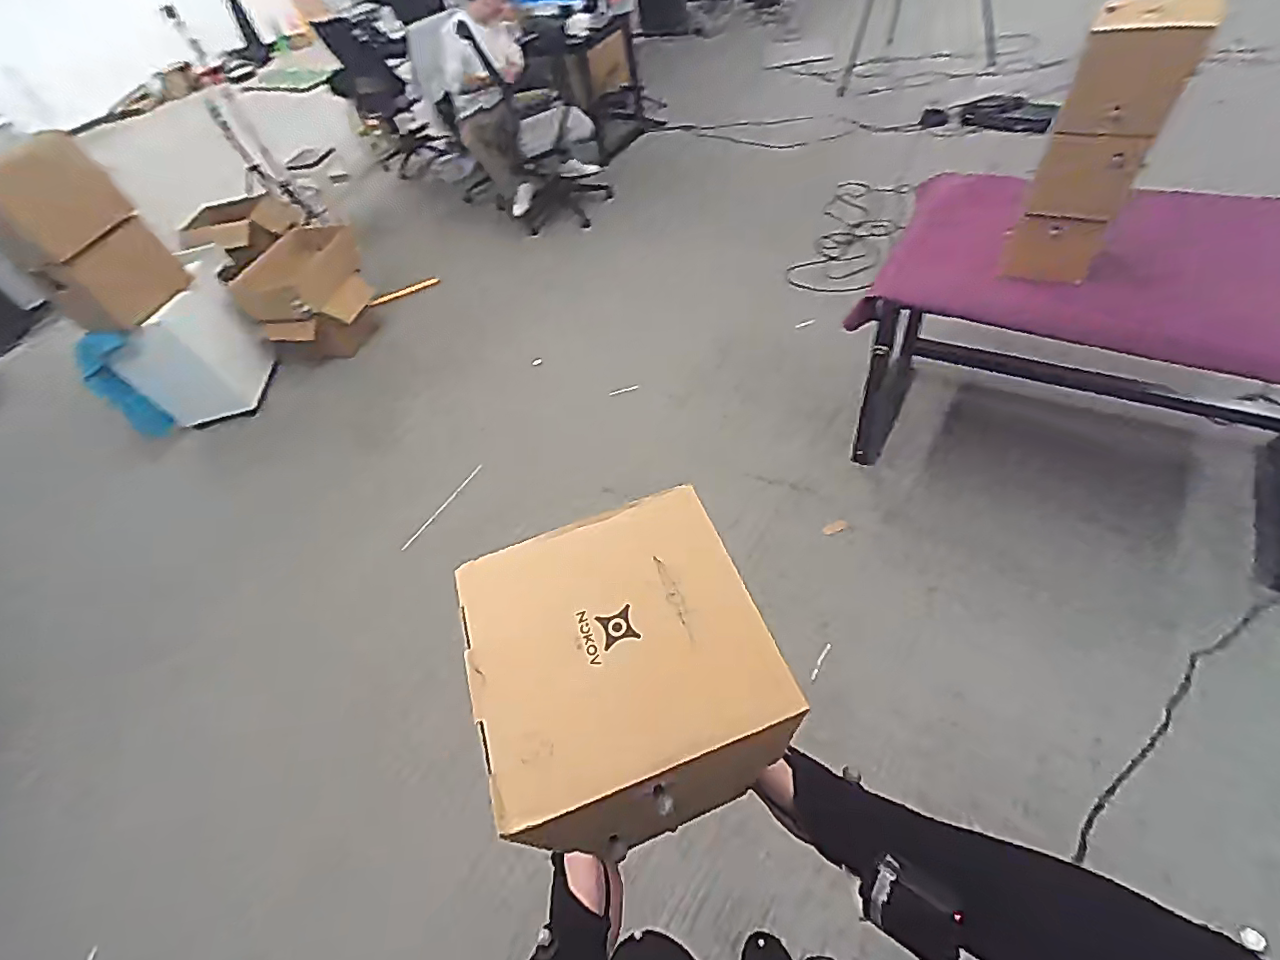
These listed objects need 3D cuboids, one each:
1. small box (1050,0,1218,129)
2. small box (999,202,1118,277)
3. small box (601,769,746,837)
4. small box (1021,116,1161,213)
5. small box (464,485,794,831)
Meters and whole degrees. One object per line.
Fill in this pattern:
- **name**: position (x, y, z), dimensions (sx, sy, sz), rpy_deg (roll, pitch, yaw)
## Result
- **small box**: position (0.914, -0.783, 1.010), dimensions (0.179, 0.176, 0.168), rpy_deg (22, 61, 26)
- **small box**: position (0.986, -0.603, 1.276), dimensions (0.179, 0.176, 0.168), rpy_deg (20, 61, 27)
- **small box**: position (0.024, 0.318, 0.671), dimensions (0.179, 0.176, 0.168), rpy_deg (-20, 53, -7)
- **small box**: position (0.948, -0.689, 1.139), dimensions (0.179, 0.176, 0.168), rpy_deg (22, 61, 28)
- **small box**: position (-0.008, 0.137, 0.400), dimensions (0.179, 0.176, 0.168), rpy_deg (-19, 54, -5)
